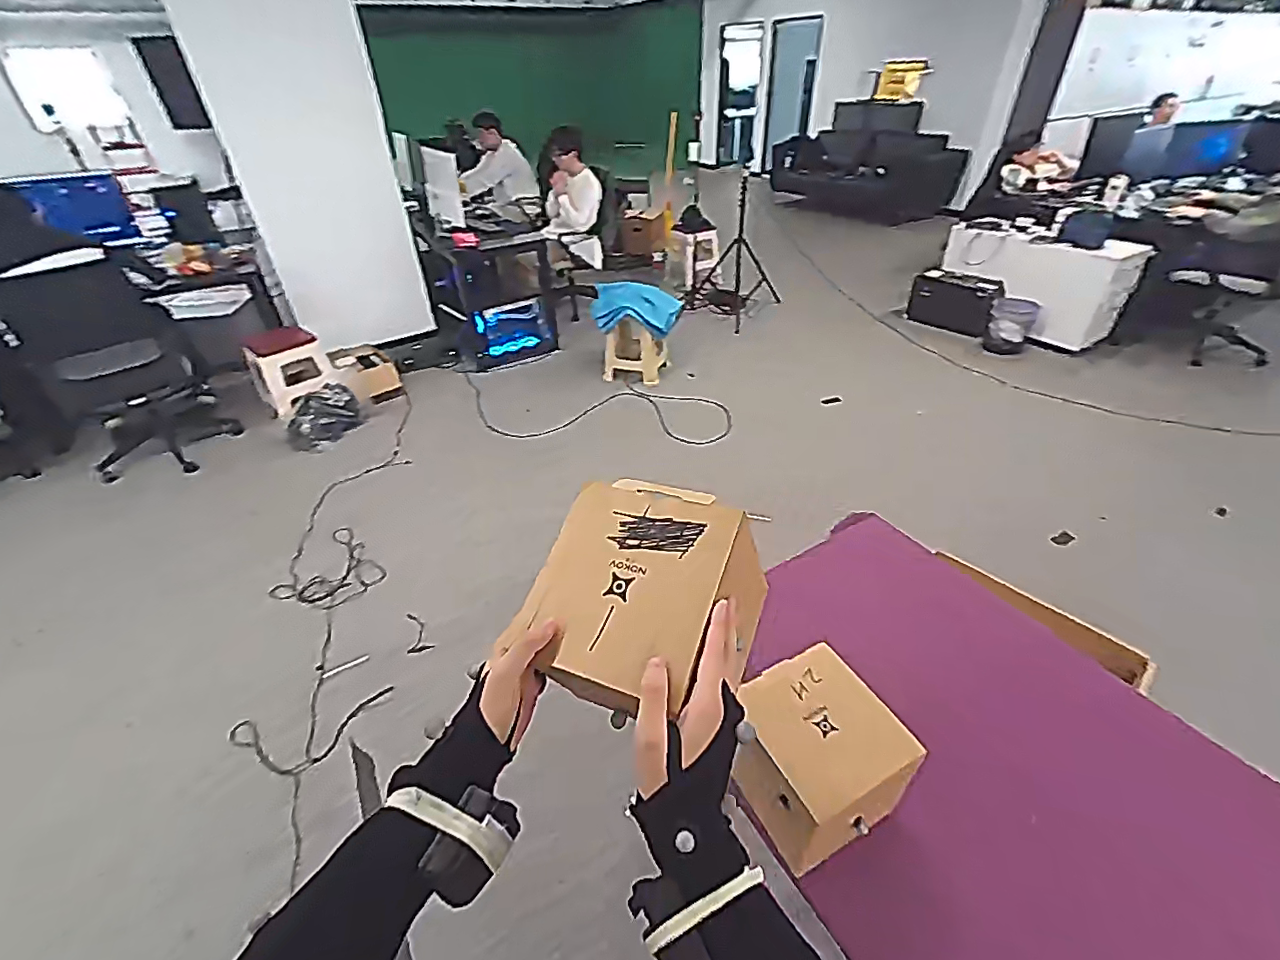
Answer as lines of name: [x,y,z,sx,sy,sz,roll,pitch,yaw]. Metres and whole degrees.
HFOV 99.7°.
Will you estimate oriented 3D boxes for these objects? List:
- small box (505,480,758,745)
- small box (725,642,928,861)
small box: [0.009,0.127,0.520,0.168,0.176,0.179,9,60,26]
small box: [0.227,0.355,0.703,0.168,0.176,0.179,-19,40,-20]
